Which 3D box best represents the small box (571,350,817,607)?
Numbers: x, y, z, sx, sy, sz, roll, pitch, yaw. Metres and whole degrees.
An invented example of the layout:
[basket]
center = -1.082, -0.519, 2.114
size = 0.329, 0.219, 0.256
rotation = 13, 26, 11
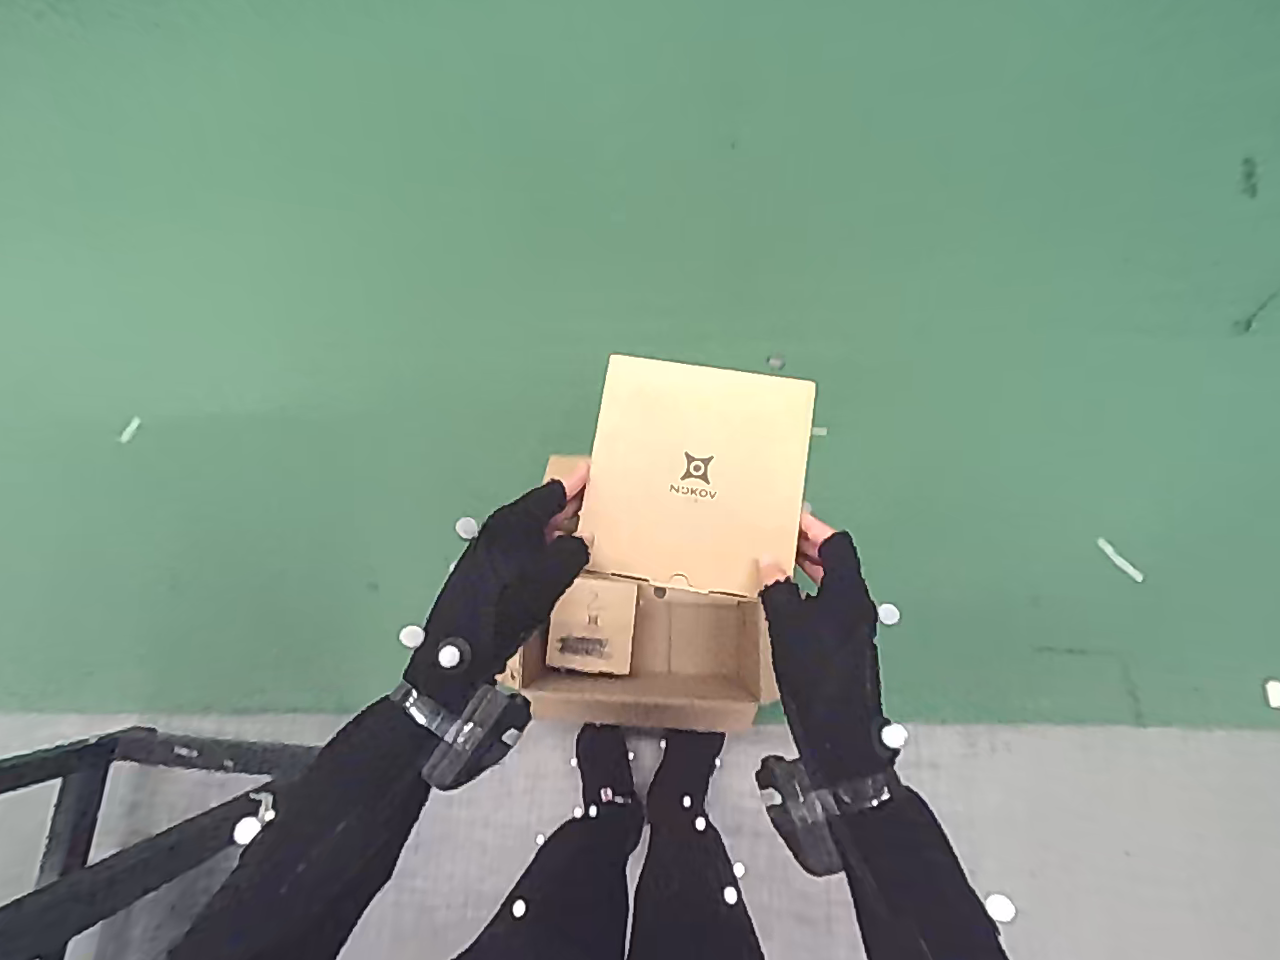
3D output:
[small box]
center = 0.045, 0.007, 0.483
size = 0.168, 0.176, 0.179
rotation = 9, 81, 4
